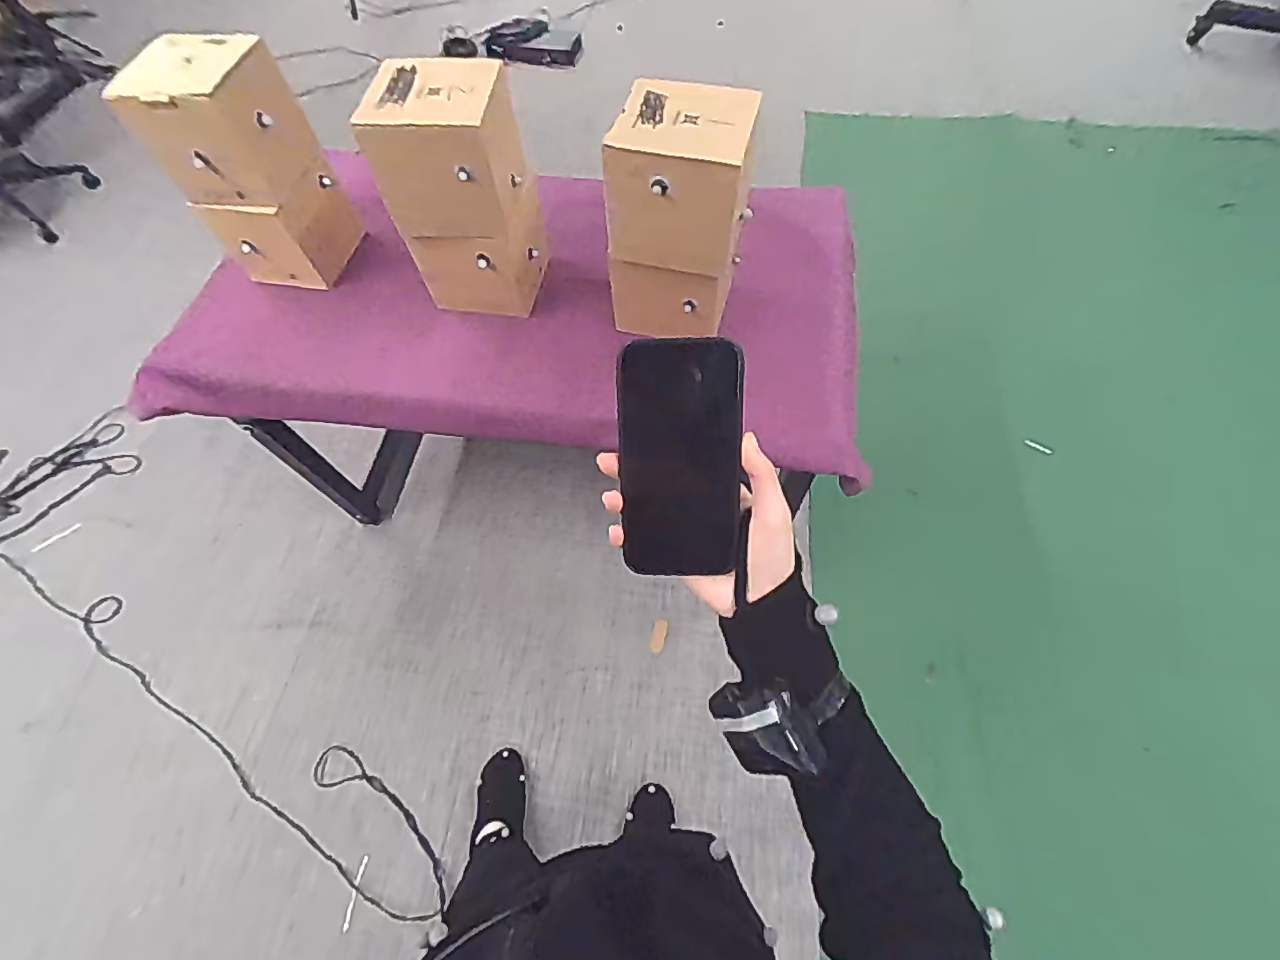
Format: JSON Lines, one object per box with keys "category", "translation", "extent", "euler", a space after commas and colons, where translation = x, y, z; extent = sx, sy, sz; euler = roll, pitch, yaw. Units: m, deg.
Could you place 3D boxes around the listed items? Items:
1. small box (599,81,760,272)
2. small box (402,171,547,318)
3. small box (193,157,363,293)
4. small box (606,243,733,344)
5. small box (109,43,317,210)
{"category": "small box", "translation": [0.056, -0.416, 0.753], "extent": [0.179, 0.176, 0.168], "euler": [13, 62, 9]}
{"category": "small box", "translation": [-0.275, -0.407, 0.950], "extent": [0.179, 0.176, 0.168], "euler": [7, 62, 7]}
{"category": "small box", "translation": [-0.656, -0.474, 1.008], "extent": [0.168, 0.176, 0.179], "euler": [8, 62, 7]}
{"category": "small box", "translation": [0.058, -0.351, 0.904], "extent": [0.179, 0.176, 0.168], "euler": [13, 62, 11]}
{"category": "small box", "translation": [-0.662, -0.561, 0.868], "extent": [0.168, 0.176, 0.179], "euler": [4, 62, 4]}
